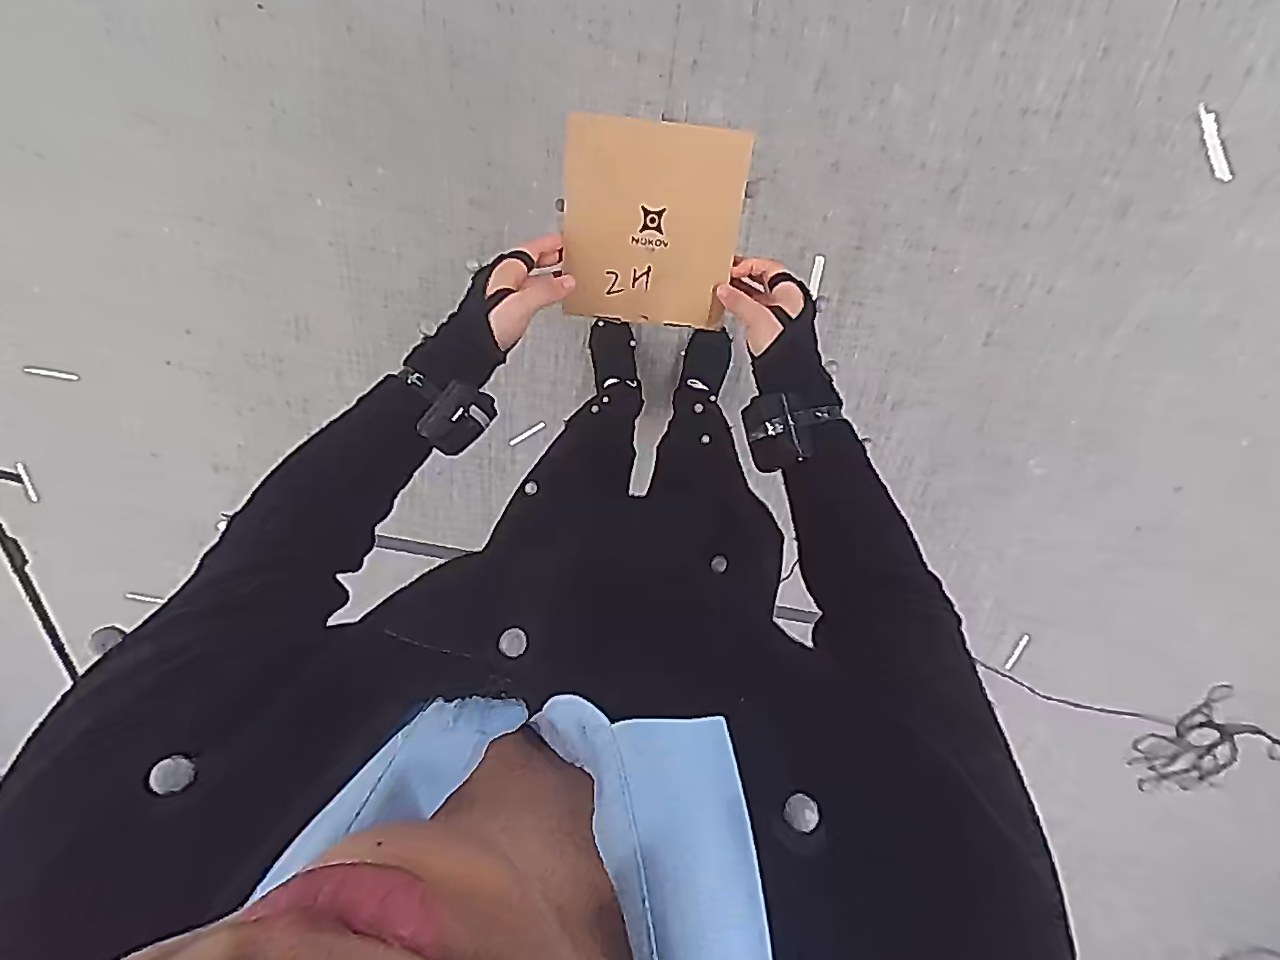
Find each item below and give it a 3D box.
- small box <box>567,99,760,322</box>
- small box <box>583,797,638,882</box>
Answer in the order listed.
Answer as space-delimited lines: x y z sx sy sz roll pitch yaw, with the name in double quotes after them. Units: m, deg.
0.018 -0.282 0.576 0.168 0.176 0.179 5 120 -1 "small box"
-0.098 1.212 1.829 0.168 0.176 0.179 5 117 3 "small box"
